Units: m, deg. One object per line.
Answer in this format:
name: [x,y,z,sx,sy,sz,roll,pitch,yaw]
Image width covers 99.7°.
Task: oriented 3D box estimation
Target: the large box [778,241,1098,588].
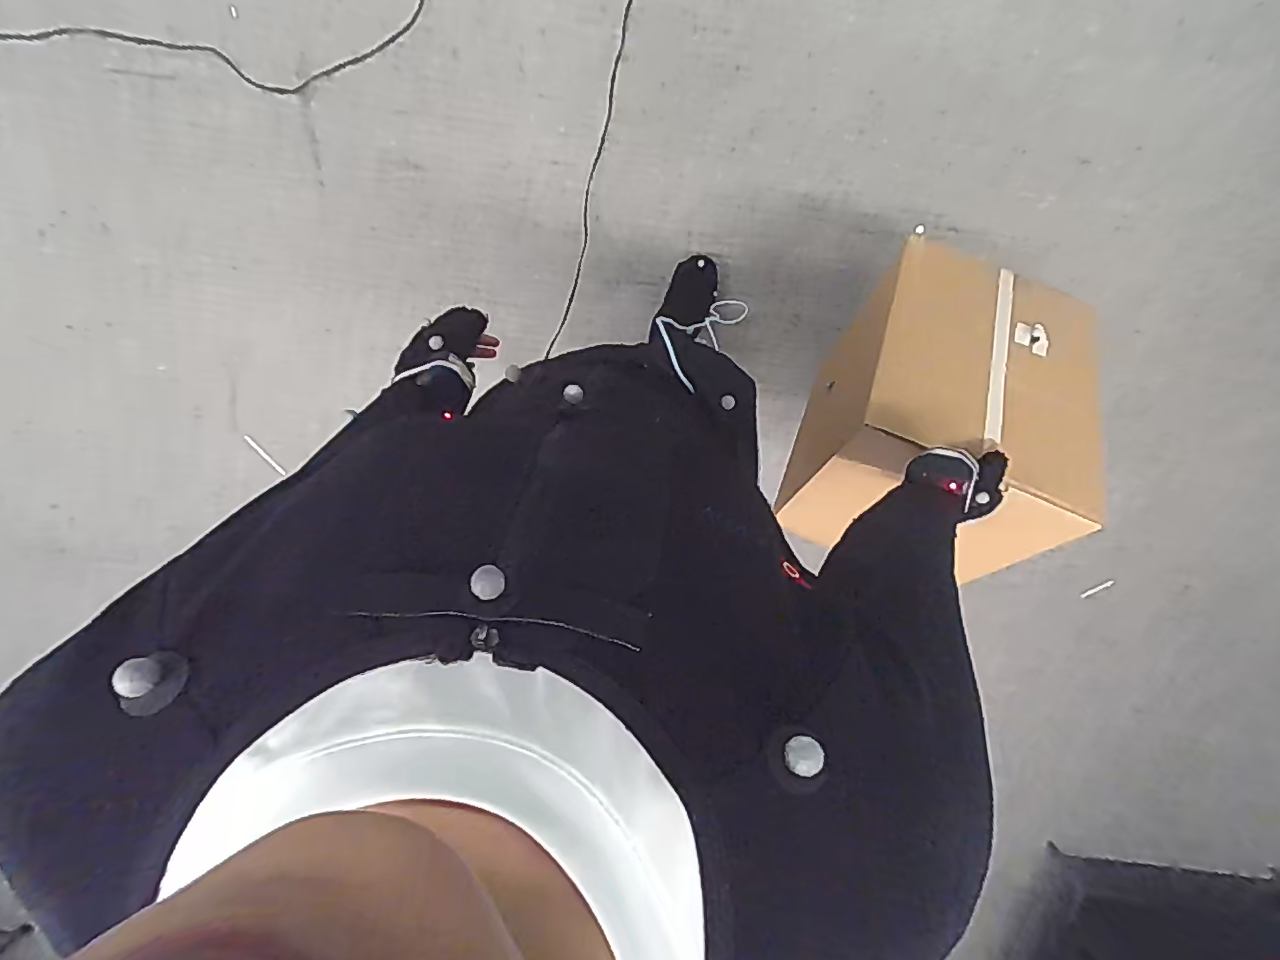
large box: [0.461,-0.094,0.884,0.320,0.408,0.320,24,151,2]
